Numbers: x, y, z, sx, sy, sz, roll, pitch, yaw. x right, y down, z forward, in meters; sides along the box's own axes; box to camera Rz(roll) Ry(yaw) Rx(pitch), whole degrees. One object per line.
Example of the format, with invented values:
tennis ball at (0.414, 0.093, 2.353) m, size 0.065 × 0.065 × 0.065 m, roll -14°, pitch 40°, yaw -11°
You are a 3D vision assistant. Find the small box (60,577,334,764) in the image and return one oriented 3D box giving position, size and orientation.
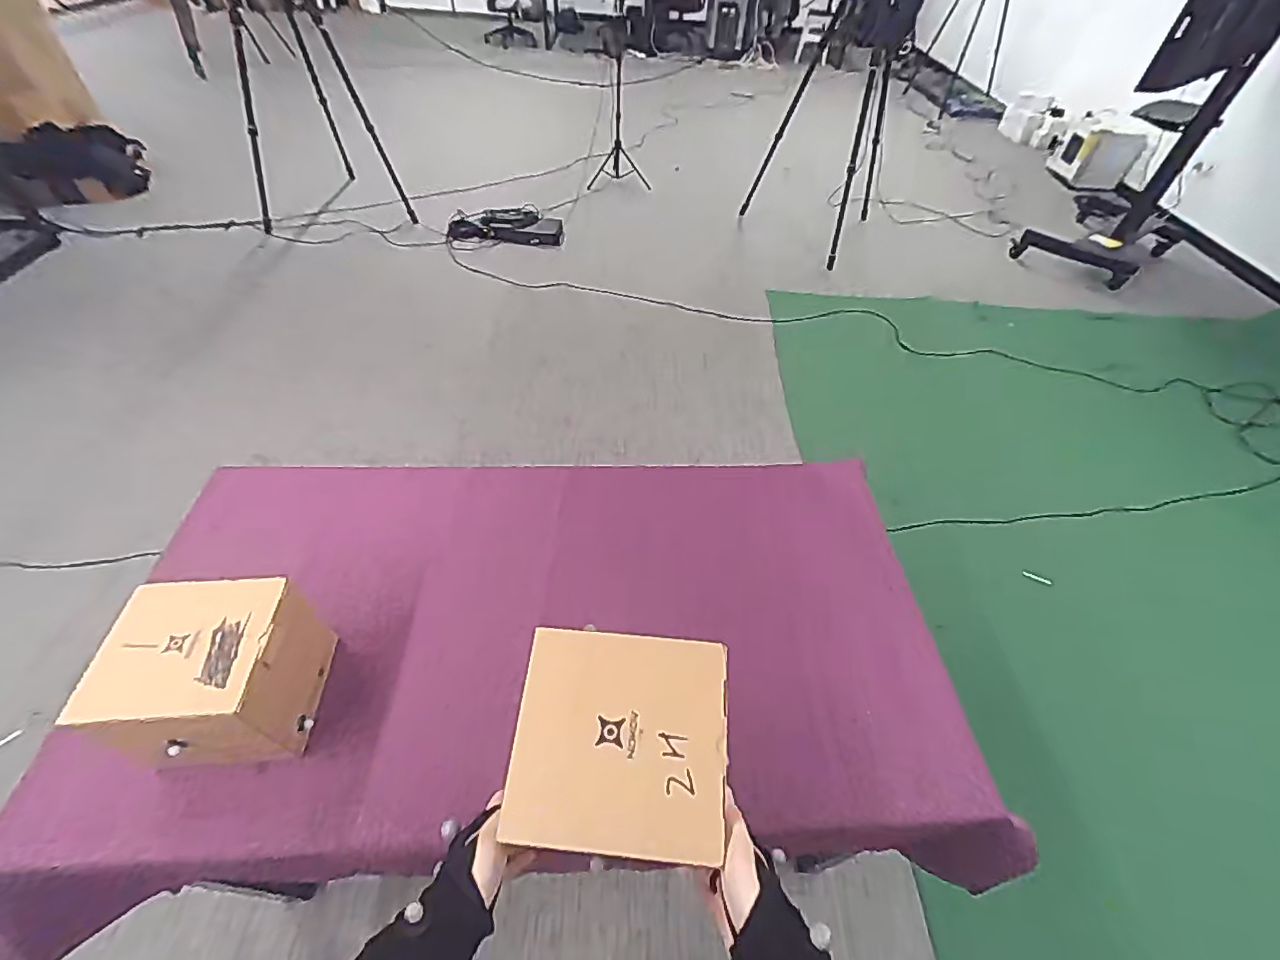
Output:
small box at (-0.512, 0.236, 0.665) m, size 0.179 × 0.176 × 0.168 m, roll -3°, pitch 49°, yaw -4°

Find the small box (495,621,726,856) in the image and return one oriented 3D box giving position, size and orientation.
small box at (-0.016, 0.246, 0.516) m, size 0.179 × 0.176 × 0.168 m, roll 5°, pitch 59°, yaw 4°
